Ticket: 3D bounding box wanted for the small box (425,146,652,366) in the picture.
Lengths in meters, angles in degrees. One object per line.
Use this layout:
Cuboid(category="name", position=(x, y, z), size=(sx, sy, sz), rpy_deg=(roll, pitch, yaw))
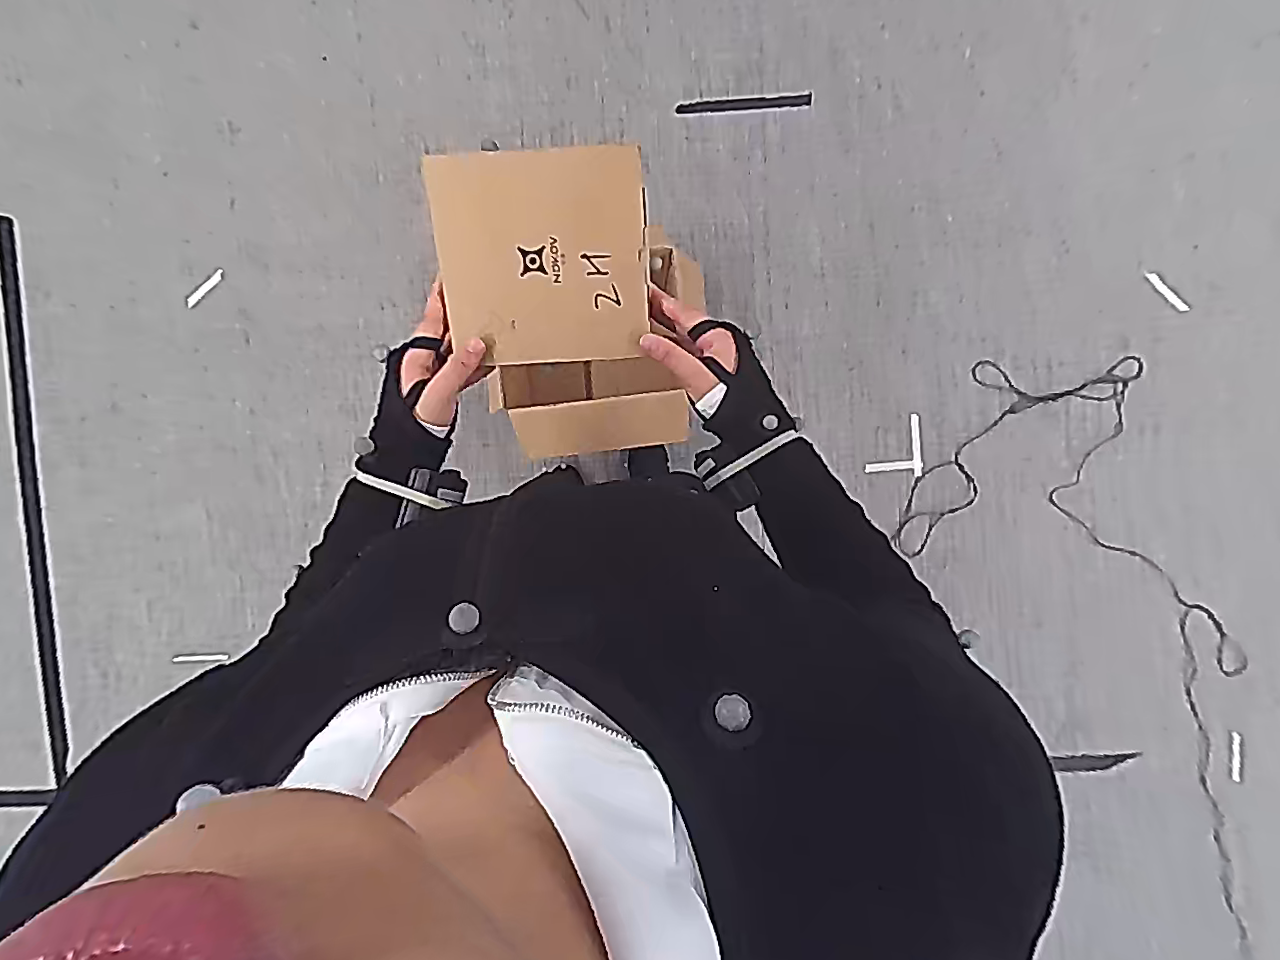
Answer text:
Cuboid(category="small box", position=(-0.079, -0.203, 0.519), size=(0.179, 0.176, 0.168), rpy_deg=(-3, 109, 0))
